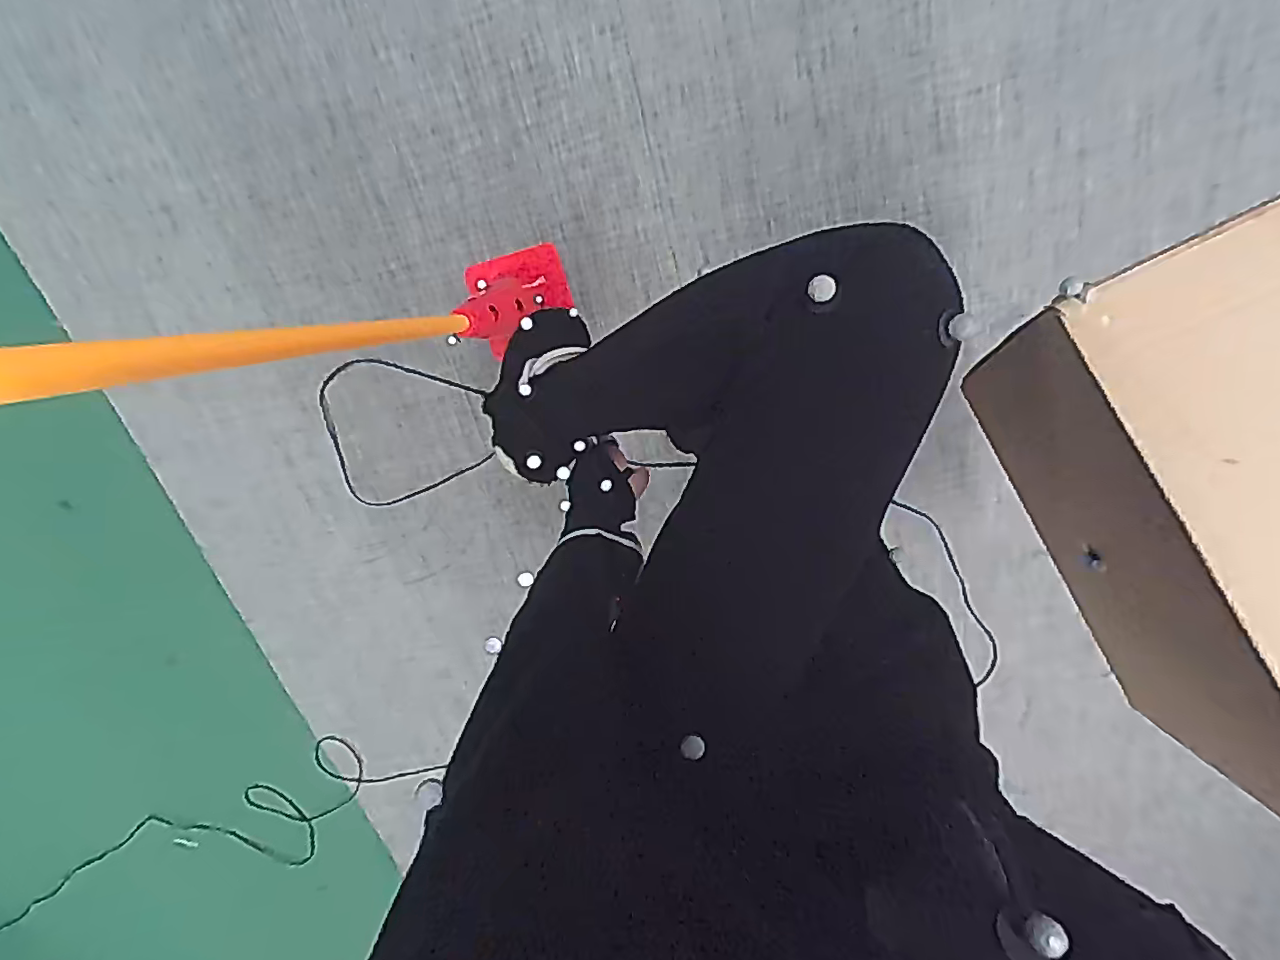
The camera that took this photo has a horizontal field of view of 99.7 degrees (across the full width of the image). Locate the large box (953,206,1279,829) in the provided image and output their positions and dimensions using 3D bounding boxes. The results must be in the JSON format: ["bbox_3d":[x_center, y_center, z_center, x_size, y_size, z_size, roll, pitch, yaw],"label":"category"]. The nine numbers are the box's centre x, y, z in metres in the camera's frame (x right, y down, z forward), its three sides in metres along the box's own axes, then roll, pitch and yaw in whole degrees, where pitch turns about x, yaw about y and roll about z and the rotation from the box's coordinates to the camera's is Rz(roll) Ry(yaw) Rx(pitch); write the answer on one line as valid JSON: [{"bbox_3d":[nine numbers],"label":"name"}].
[{"bbox_3d":[0.531,0.010,0.444,0.320,0.320,0.408,-26,81,18],"label":"large box"}]
